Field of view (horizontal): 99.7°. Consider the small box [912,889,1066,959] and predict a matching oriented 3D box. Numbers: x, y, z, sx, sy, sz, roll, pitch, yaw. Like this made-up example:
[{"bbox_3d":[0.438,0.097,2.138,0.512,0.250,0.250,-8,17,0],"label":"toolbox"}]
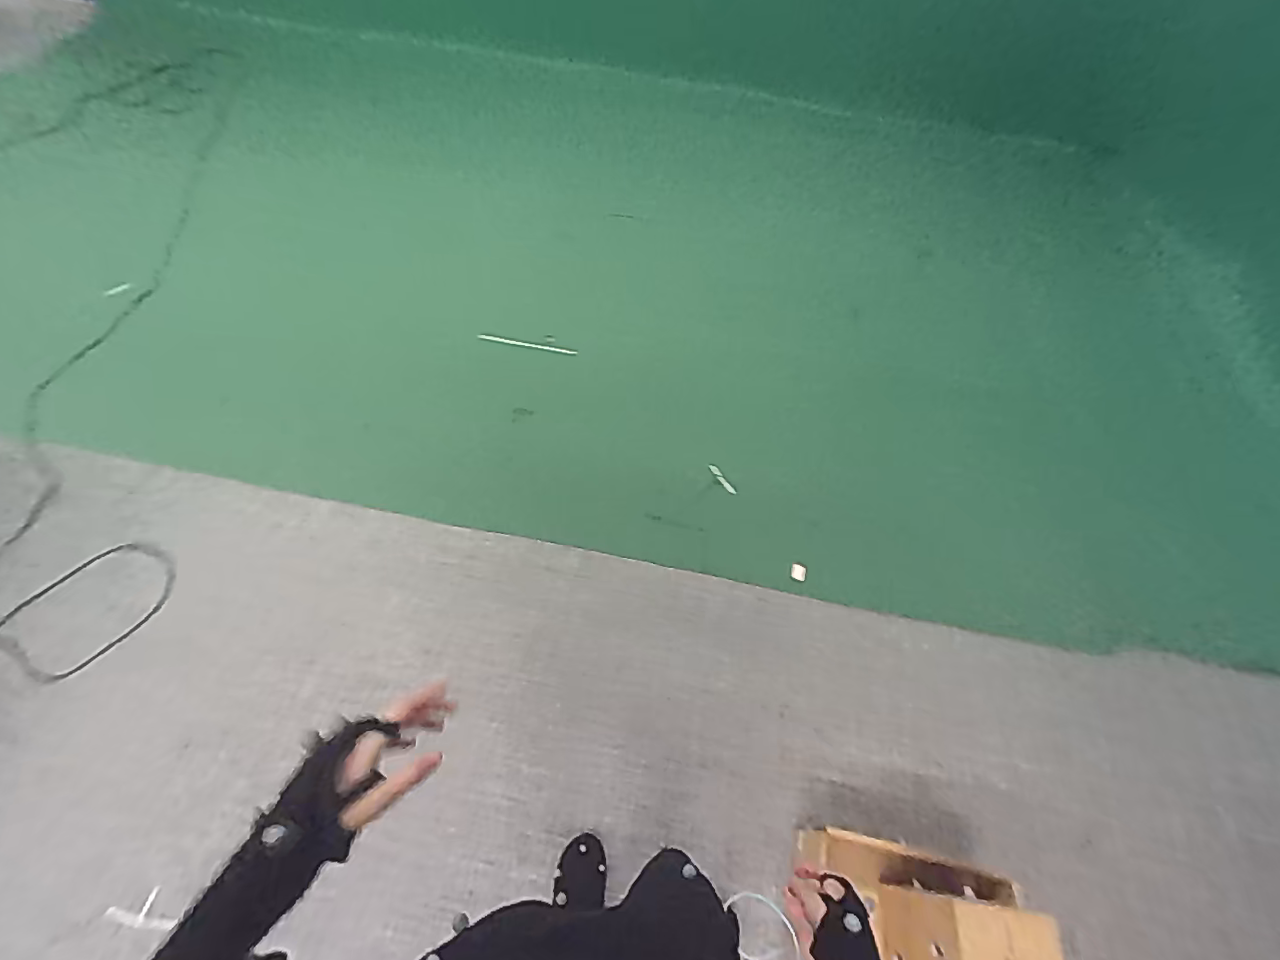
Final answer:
[{"bbox_3d":[0.581,0.815,0.906,0.168,0.176,0.179,9,58,4],"label":"small box"}]
